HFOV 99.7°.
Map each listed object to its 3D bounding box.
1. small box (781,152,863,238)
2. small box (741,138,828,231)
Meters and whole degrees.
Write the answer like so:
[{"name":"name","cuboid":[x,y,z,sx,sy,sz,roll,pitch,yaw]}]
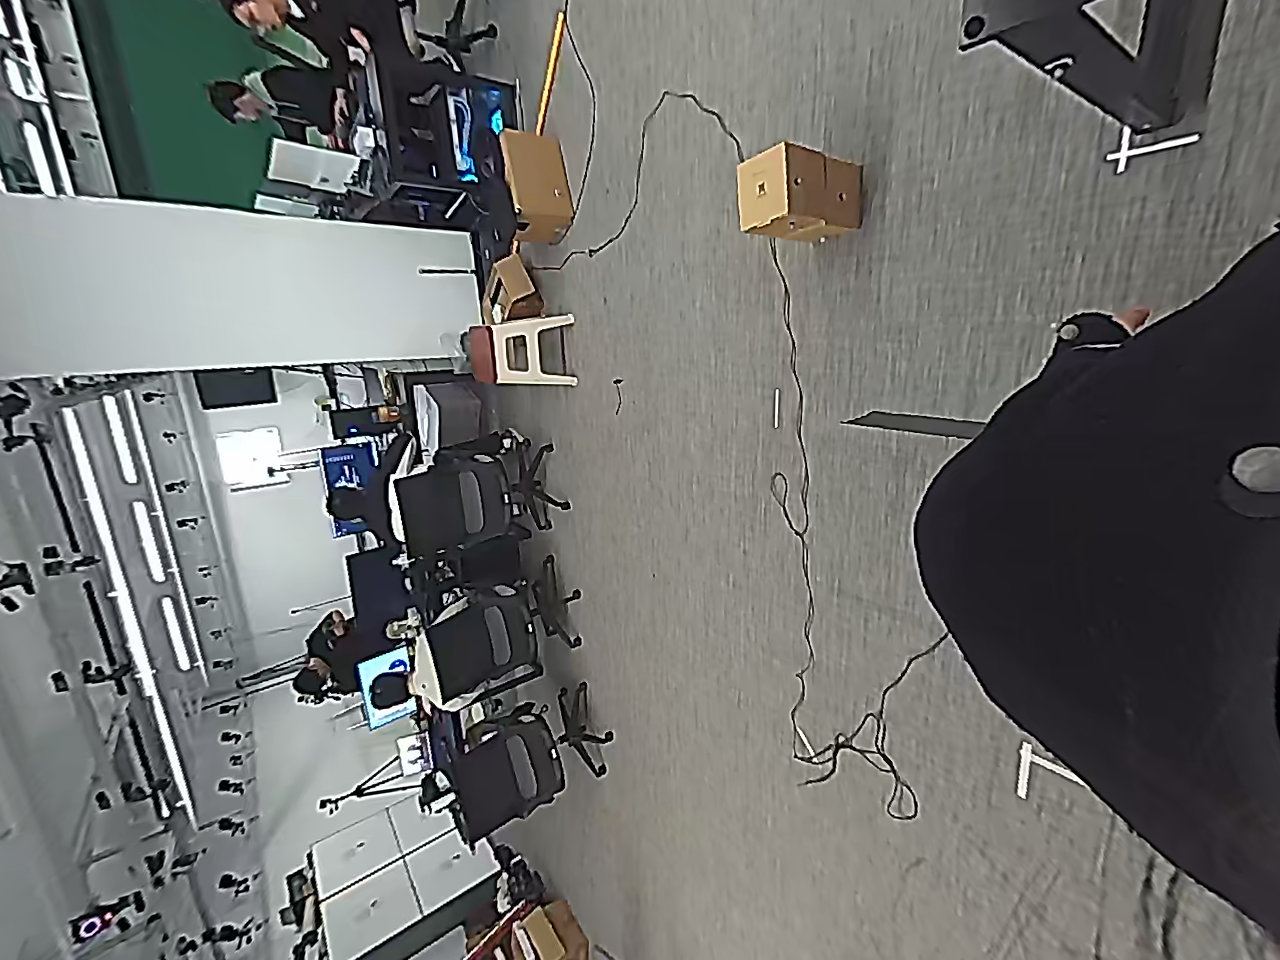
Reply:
[{"name":"small box","cuboid":[0.527,-0.813,1.562,0.168,0.176,0.179,13,111,53]},{"name":"small box","cuboid":[0.395,-0.790,1.470,0.168,0.176,0.179,7,105,53]}]
